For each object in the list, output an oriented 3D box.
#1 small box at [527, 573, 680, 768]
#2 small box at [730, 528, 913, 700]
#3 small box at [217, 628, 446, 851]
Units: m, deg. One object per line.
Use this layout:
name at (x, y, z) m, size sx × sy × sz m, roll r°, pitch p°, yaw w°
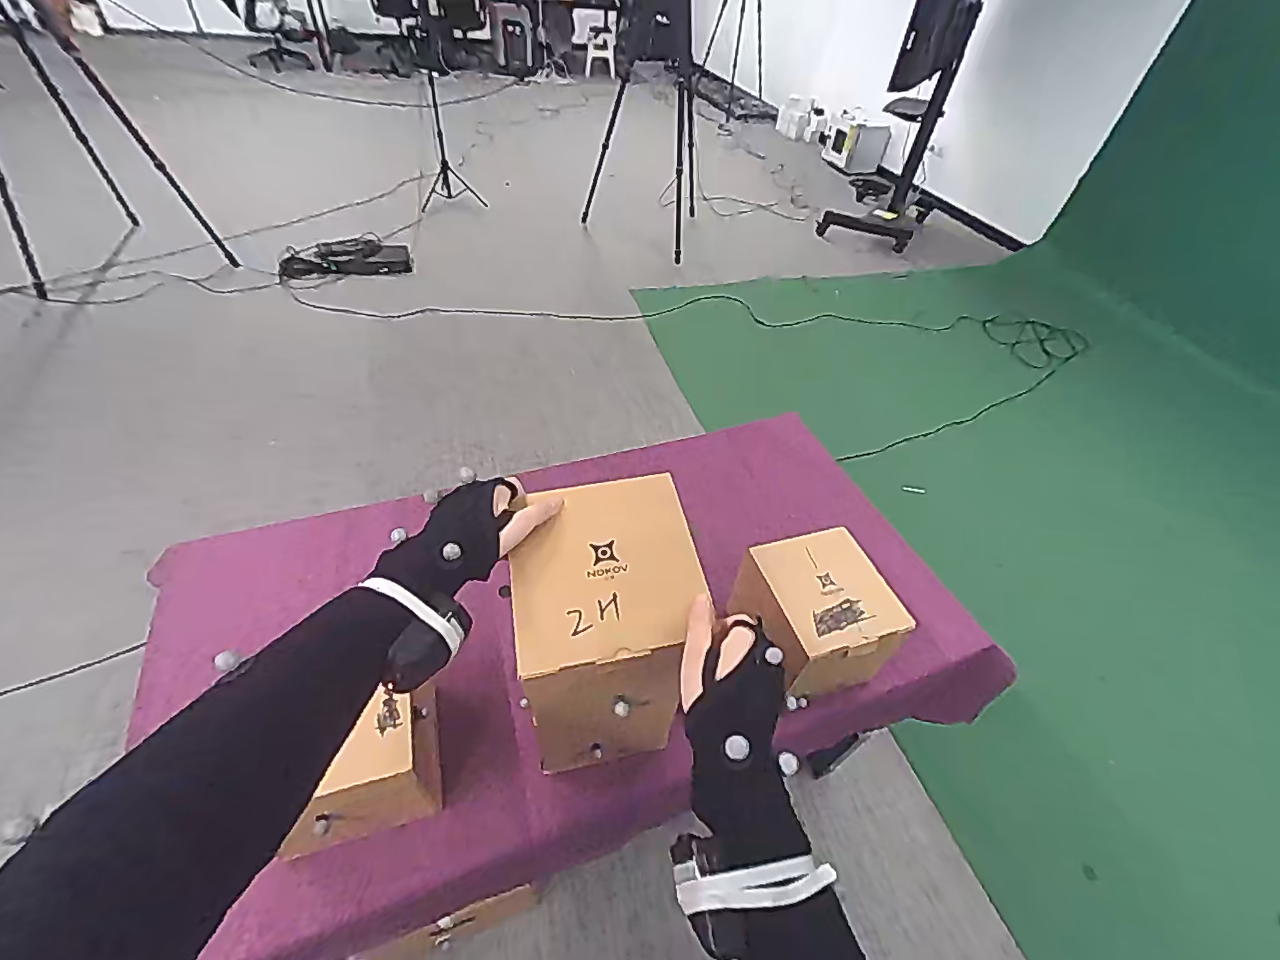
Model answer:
small box at (-0.058, 0.250, 0.714) m, size 0.168 × 0.176 × 0.179 m, roll -6°, pitch 49°, yaw -12°
small box at (0.249, 0.200, 0.792) m, size 0.168 × 0.176 × 0.179 m, roll -10°, pitch 48°, yaw -15°
small box at (-0.338, 0.303, 0.629) m, size 0.179 × 0.176 × 0.168 m, roll -11°, pitch 49°, yaw -15°
